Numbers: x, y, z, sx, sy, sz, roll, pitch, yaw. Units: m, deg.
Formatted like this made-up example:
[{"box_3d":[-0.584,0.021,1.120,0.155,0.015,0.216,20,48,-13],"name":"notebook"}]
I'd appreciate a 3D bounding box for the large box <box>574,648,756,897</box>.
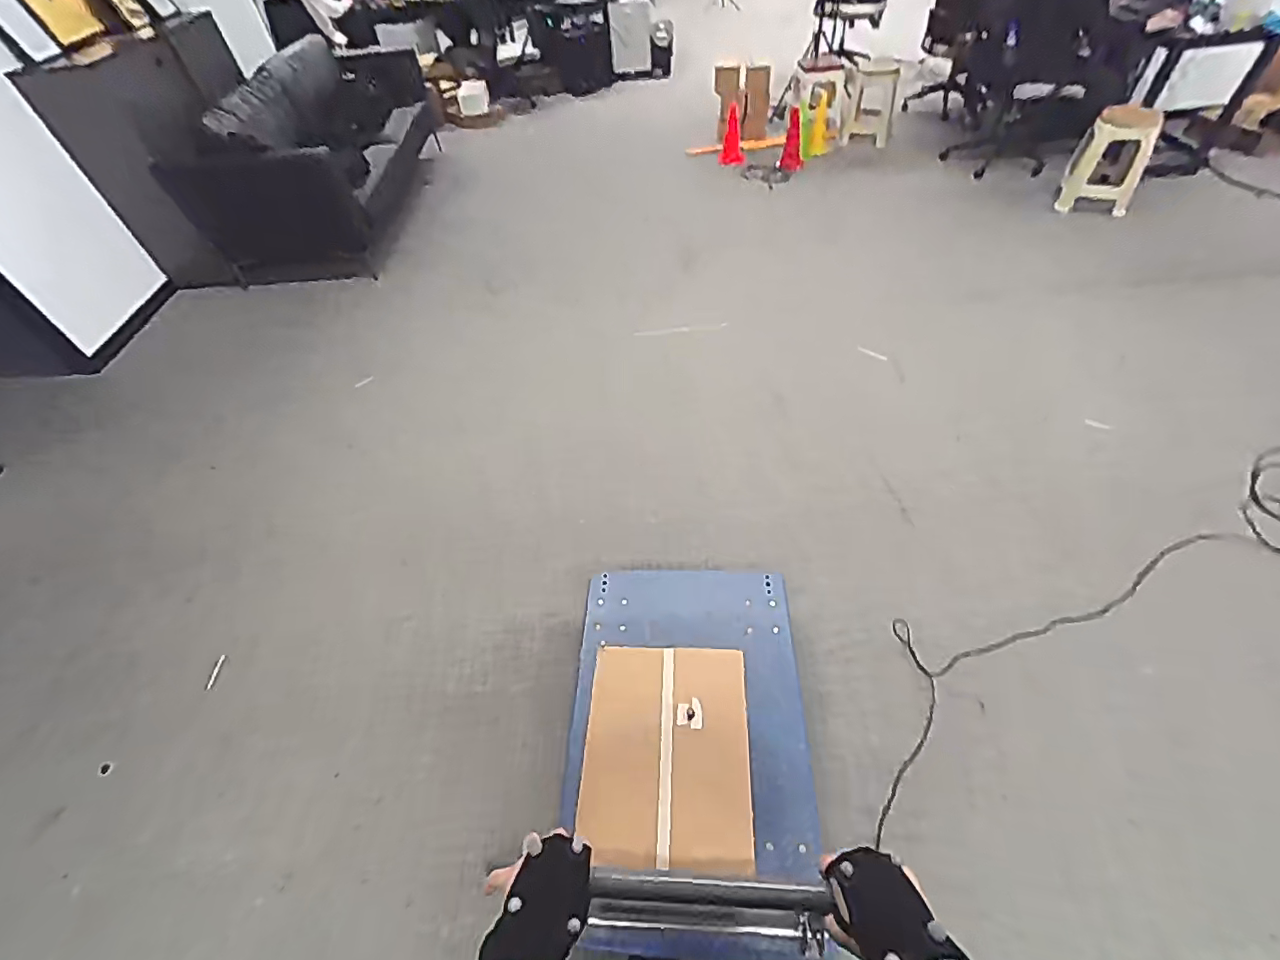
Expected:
[{"box_3d":[0.059,0.614,1.143,0.320,0.320,0.408,0,48,5],"name":"large box"}]
